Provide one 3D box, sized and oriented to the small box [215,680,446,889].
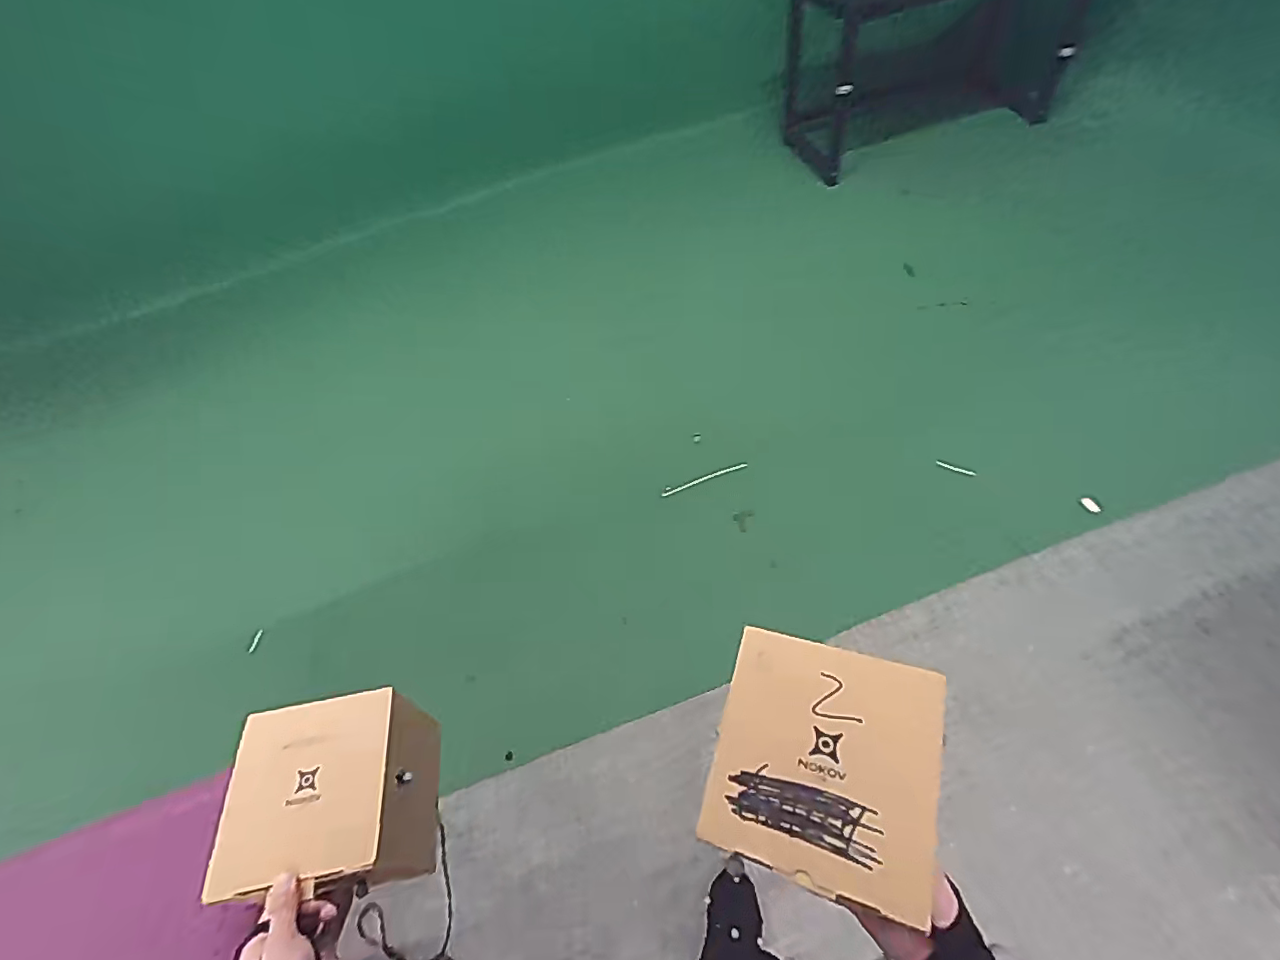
[{"bbox_3d":[-0.340,0.360,0.638,0.168,0.176,0.179,-9,52,-4],"label":"small box"}]
